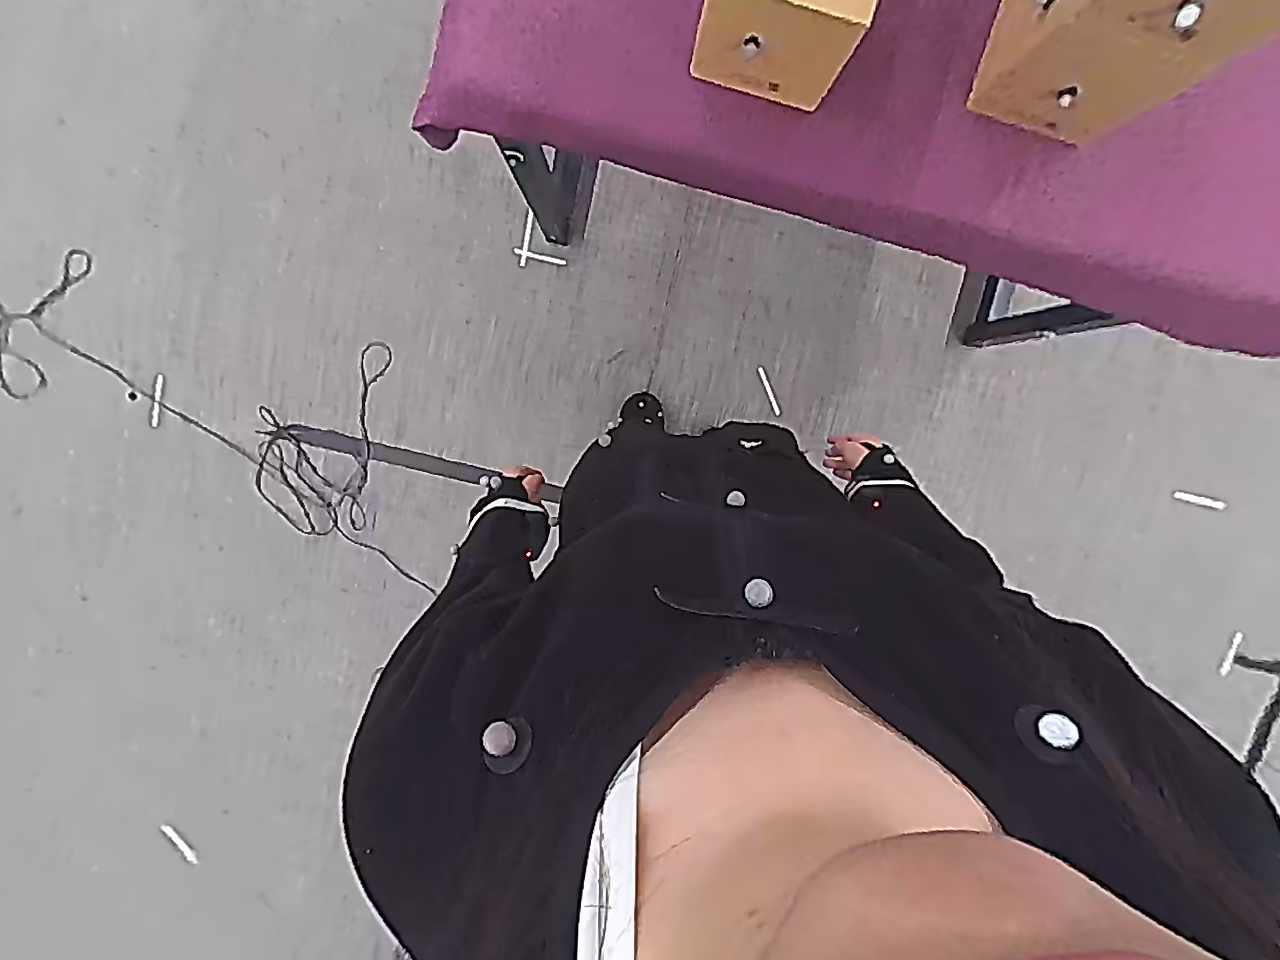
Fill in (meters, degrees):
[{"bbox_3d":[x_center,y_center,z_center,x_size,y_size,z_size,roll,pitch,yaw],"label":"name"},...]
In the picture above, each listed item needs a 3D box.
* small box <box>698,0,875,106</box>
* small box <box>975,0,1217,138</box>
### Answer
[{"bbox_3d":[0.166,-0.559,0.594,0.168,0.176,0.179,14,97,-3],"label":"small box"},{"bbox_3d":[0.520,-0.527,0.607,0.168,0.176,0.179,16,97,-4],"label":"small box"}]
